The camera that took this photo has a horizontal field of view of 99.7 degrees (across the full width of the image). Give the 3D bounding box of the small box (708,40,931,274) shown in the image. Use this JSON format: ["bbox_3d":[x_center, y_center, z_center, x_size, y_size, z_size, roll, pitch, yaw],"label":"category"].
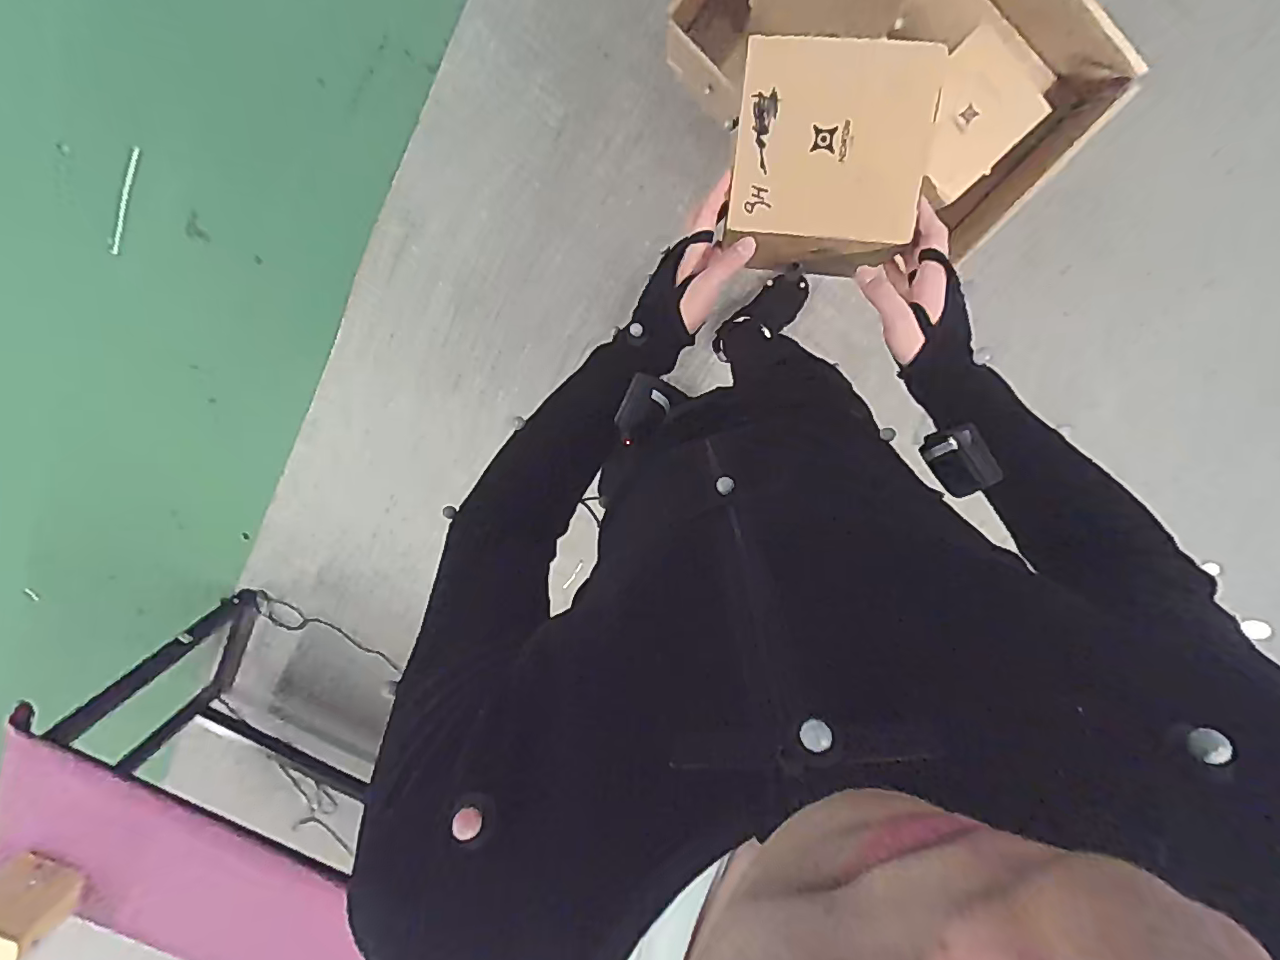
[{"bbox_3d":[0.170,-0.322,0.575,0.179,0.176,0.168,7,102,5],"label":"small box"}]

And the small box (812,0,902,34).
[{"bbox_3d":[0.246,-0.601,0.543,0.179,0.176,0.168,38,111,-9],"label":"small box"}]

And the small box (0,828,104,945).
[{"bbox_3d":[-1.610,1.089,1.456,0.168,0.176,0.179,30,111,-9],"label":"small box"}]

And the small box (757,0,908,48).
[{"bbox_3d":[0.268,-0.665,0.693,0.179,0.176,0.168,40,111,-10],"label":"small box"}]

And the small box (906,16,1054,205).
[{"bbox_3d":[0.499,-0.575,0.875,0.168,0.176,0.179,43,111,-11],"label":"small box"}]
